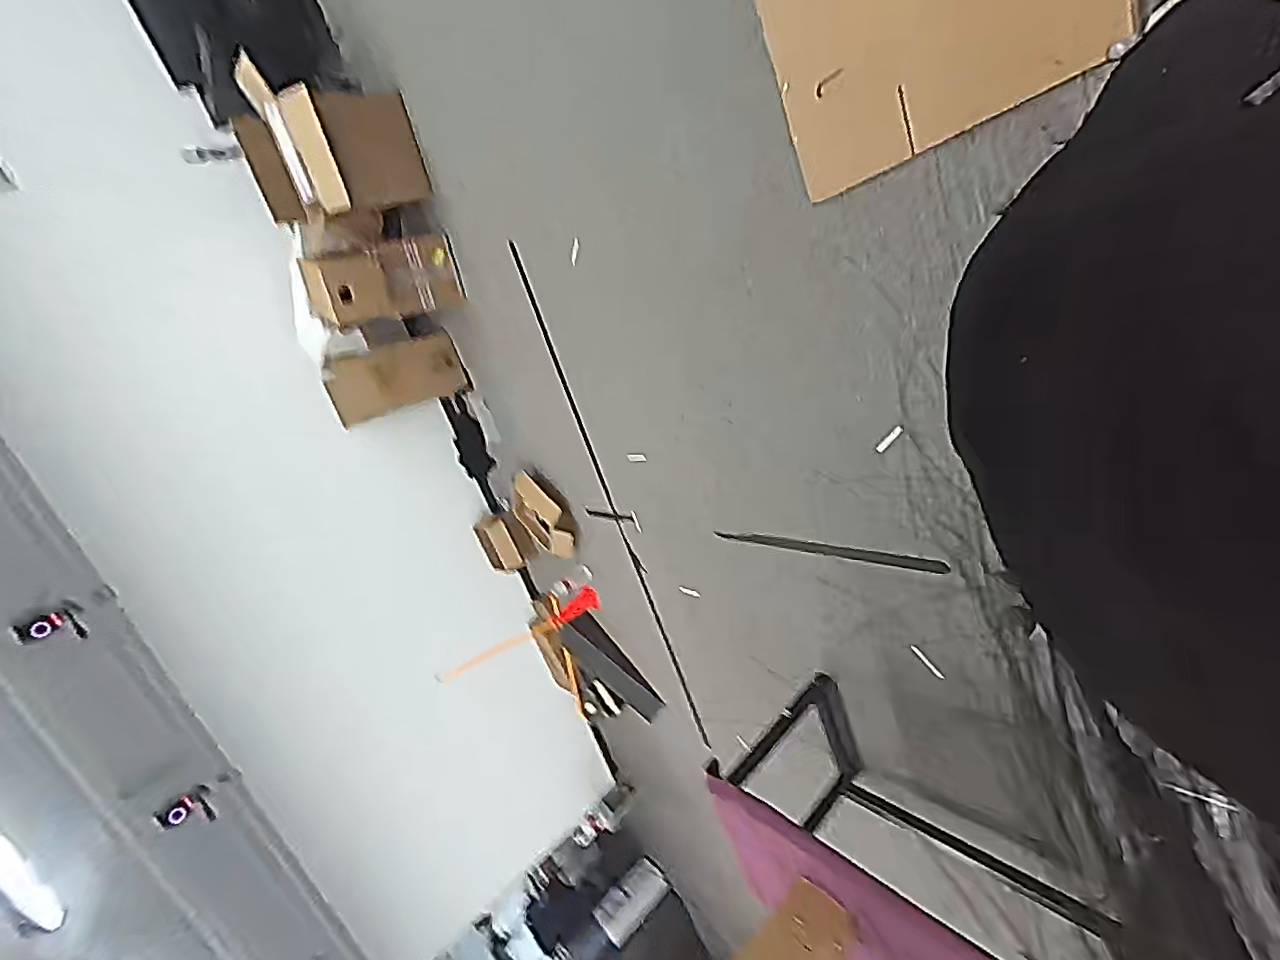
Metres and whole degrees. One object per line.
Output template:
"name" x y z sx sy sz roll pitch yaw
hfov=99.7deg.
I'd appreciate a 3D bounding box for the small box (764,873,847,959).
"small box" 0.523 1.387 1.684 0.179 0.176 0.168 6 119 53
